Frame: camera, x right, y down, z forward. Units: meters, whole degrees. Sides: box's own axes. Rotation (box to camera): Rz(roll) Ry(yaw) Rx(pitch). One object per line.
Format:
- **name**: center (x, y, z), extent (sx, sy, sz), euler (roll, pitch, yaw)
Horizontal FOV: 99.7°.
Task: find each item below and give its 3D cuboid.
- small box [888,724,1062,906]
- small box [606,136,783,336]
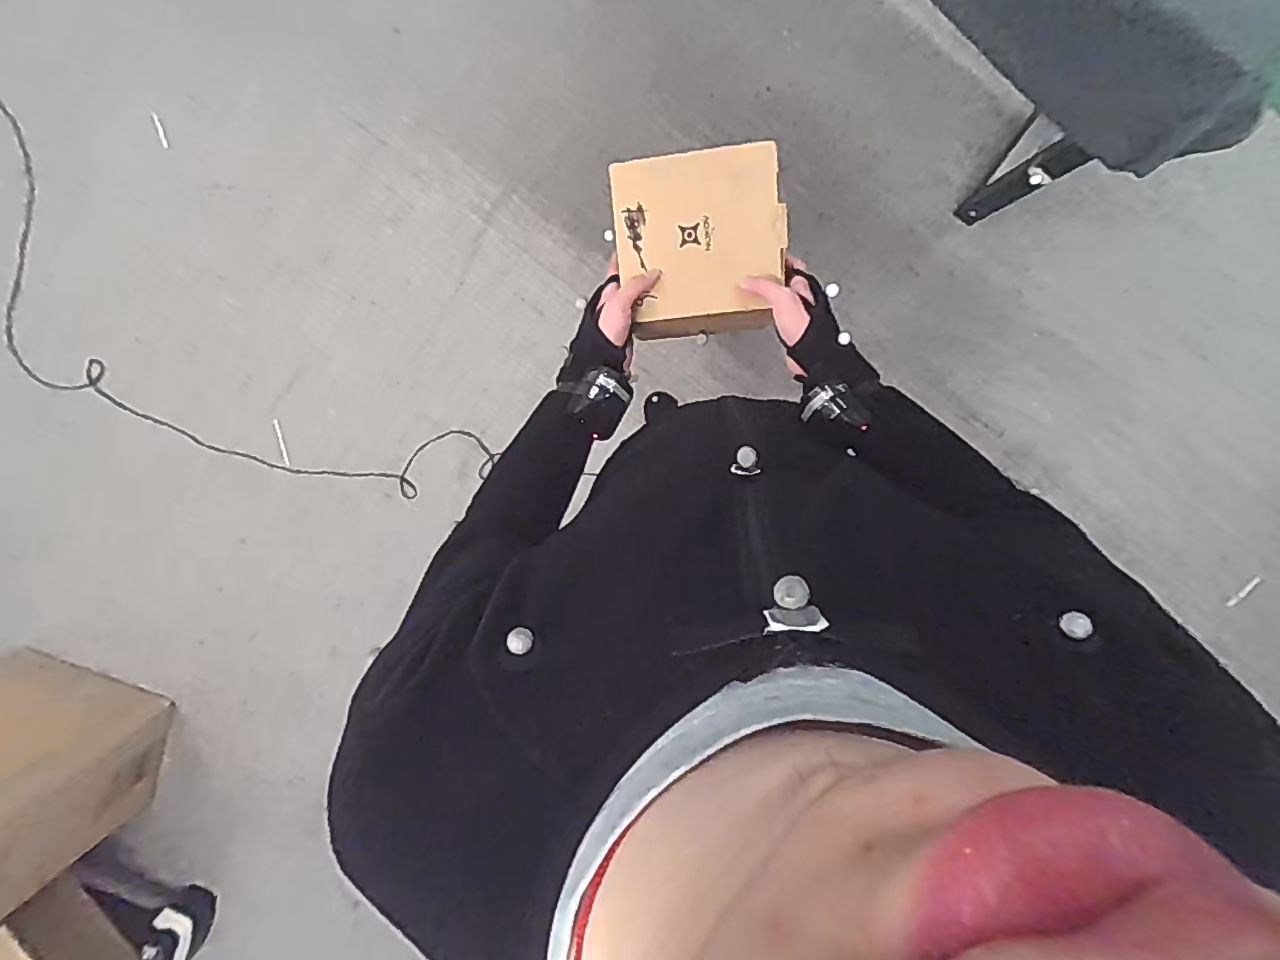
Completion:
- **small box**: center (0.574, 0.583, 0.960), extent (0.168, 0.176, 0.179), euler (38, 100, -5)
- **small box**: center (0.062, -0.270, 0.637), extent (0.179, 0.176, 0.168), euler (-5, 97, 5)
